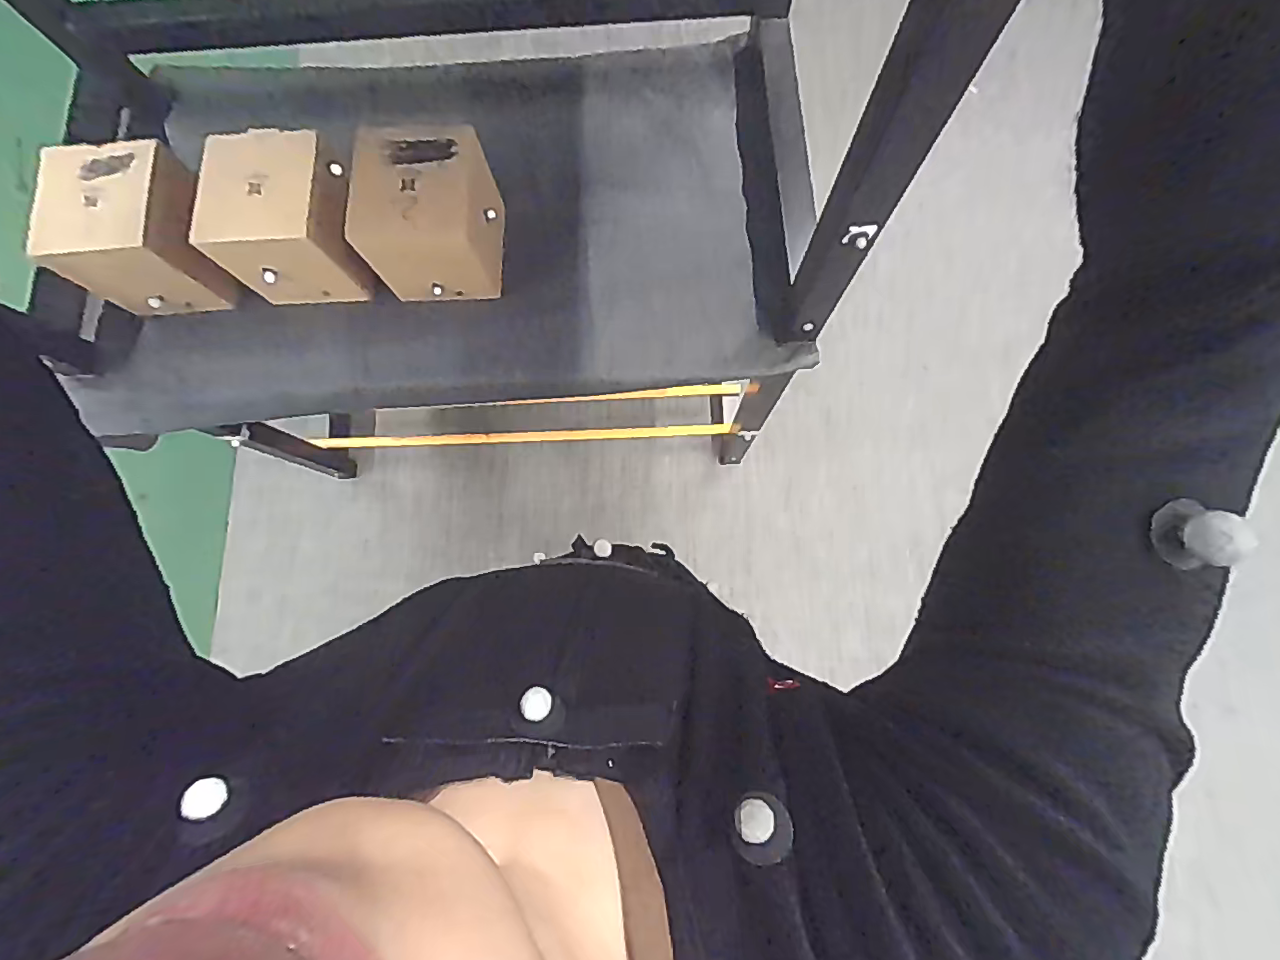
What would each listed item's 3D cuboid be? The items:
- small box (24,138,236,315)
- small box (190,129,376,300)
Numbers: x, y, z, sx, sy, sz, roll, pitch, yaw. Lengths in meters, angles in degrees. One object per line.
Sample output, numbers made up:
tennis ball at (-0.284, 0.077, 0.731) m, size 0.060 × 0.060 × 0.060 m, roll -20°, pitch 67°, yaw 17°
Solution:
small box at (-0.751, -0.376, 0.823) m, size 0.168 × 0.176 × 0.179 m, roll -4°, pitch 78°, yaw 1°
small box at (-0.525, -0.389, 0.821) m, size 0.168 × 0.176 × 0.179 m, roll -2°, pitch 77°, yaw 1°
